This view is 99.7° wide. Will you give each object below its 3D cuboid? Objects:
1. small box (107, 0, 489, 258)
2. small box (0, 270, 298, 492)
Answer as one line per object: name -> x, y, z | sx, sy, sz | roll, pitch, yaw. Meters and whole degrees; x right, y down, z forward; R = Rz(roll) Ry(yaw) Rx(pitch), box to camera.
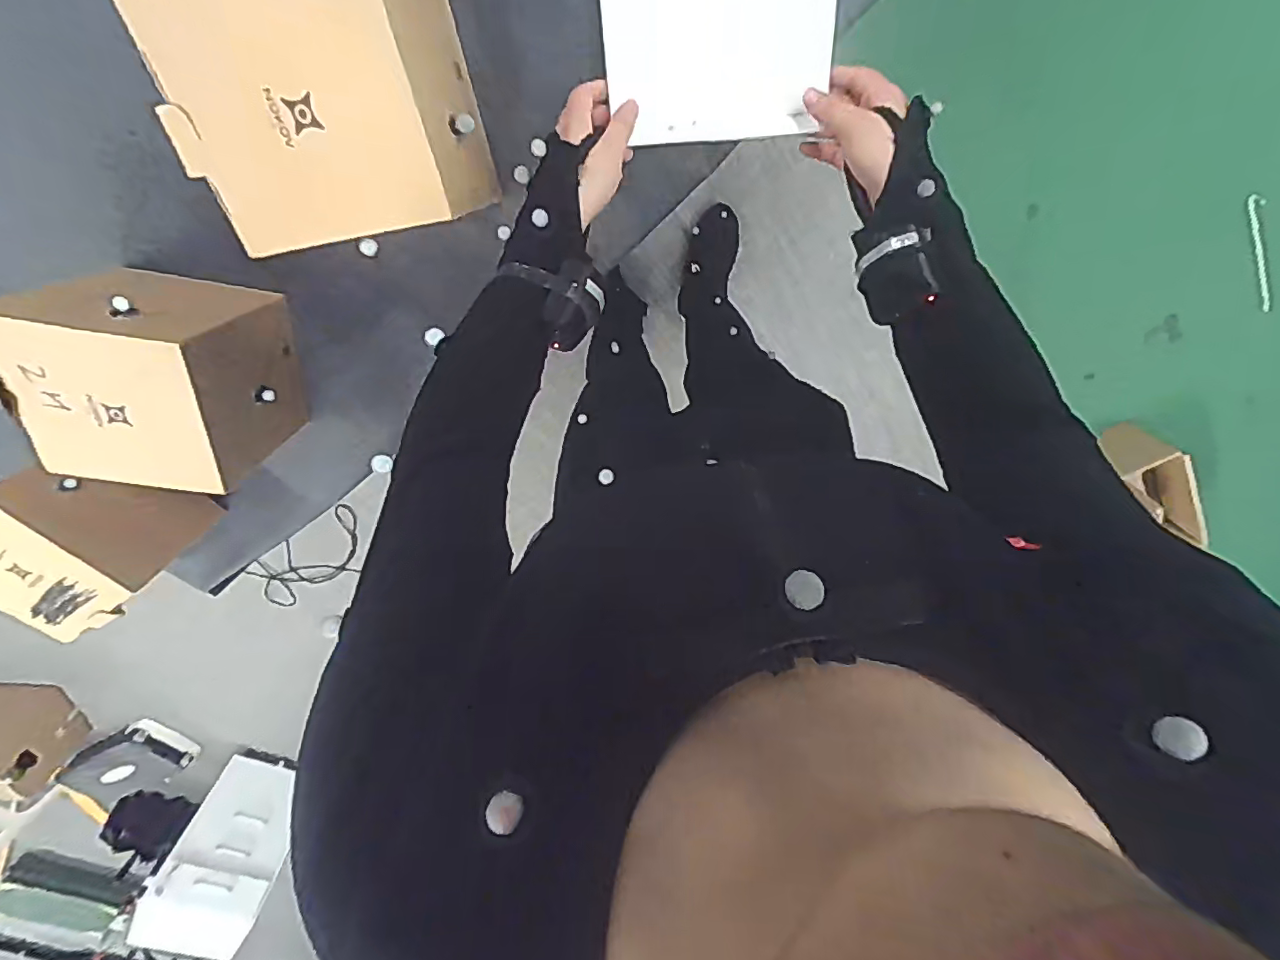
small box -> -0.238, -0.299, 0.440 | 0.179, 0.176, 0.168 | -8, 123, 8
small box -> -0.495, -0.110, 0.571 | 0.179, 0.176, 0.168 | 9, 123, -5
